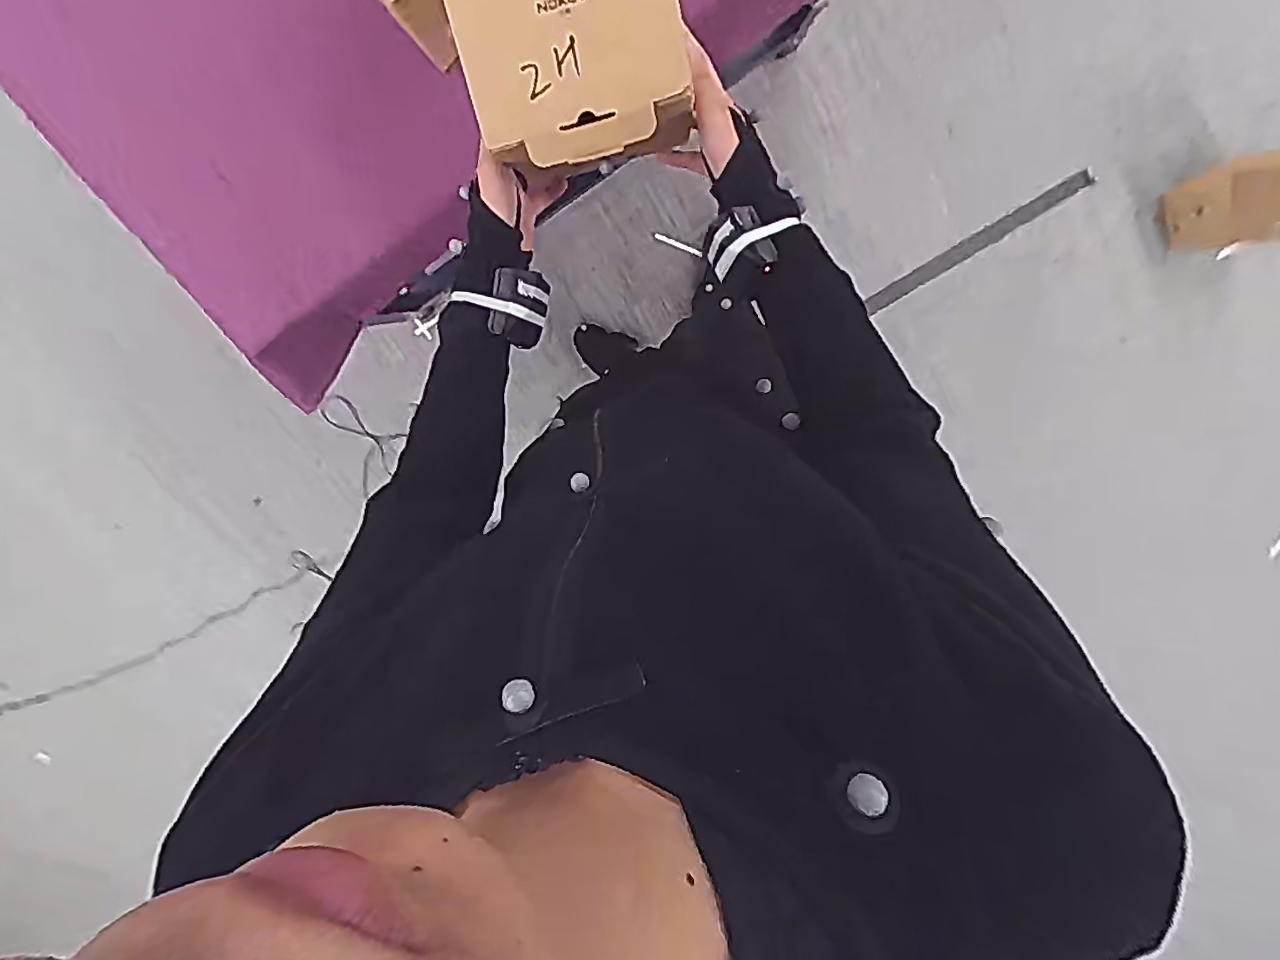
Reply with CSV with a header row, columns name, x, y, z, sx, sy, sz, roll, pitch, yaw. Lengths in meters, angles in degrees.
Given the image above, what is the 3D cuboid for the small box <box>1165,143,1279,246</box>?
name,x,y,z,sx,sy,sz,roll,pitch,yaw
small box,1.488,-0.713,1.367,0.179,0.176,0.168,-28,107,8

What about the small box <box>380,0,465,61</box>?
name,x,y,z,sx,sy,sz,roll,pitch,yaw
small box,-0.247,-0.616,0.587,0.179,0.176,0.168,-42,105,11

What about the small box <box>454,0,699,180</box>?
name,x,y,z,sx,sy,sz,roll,pitch,yaw
small box,-0.048,-0.379,0.457,0.168,0.176,0.179,-10,110,8
